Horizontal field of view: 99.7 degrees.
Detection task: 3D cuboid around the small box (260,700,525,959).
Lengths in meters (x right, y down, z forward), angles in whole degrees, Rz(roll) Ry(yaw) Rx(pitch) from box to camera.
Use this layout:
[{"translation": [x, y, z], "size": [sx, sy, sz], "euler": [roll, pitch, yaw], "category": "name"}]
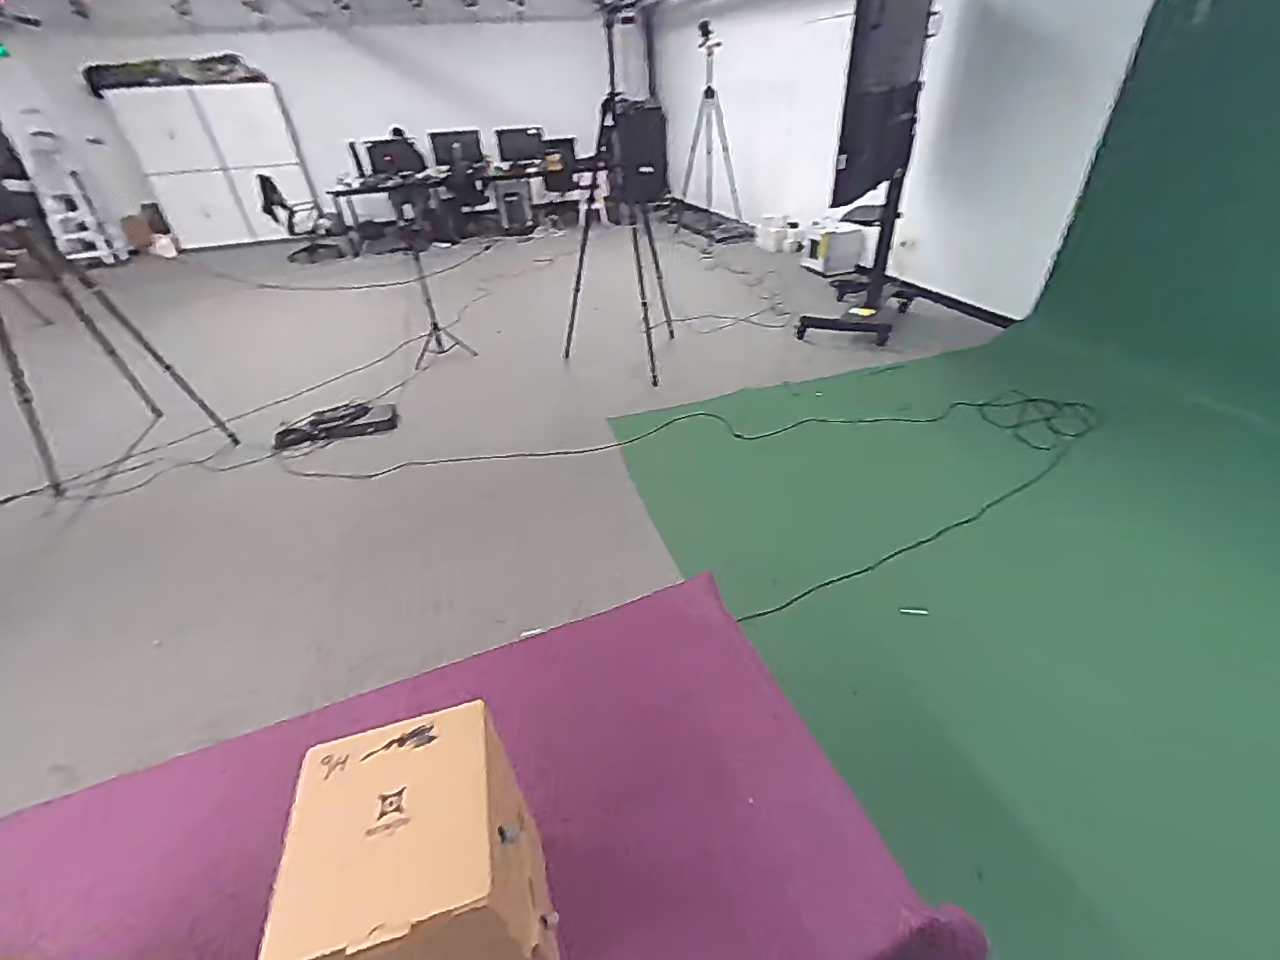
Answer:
[{"translation": [-0.209, 0.348, 0.507], "size": [0.168, 0.176, 0.179], "euler": [-12, 37, -11], "category": "small box"}]
